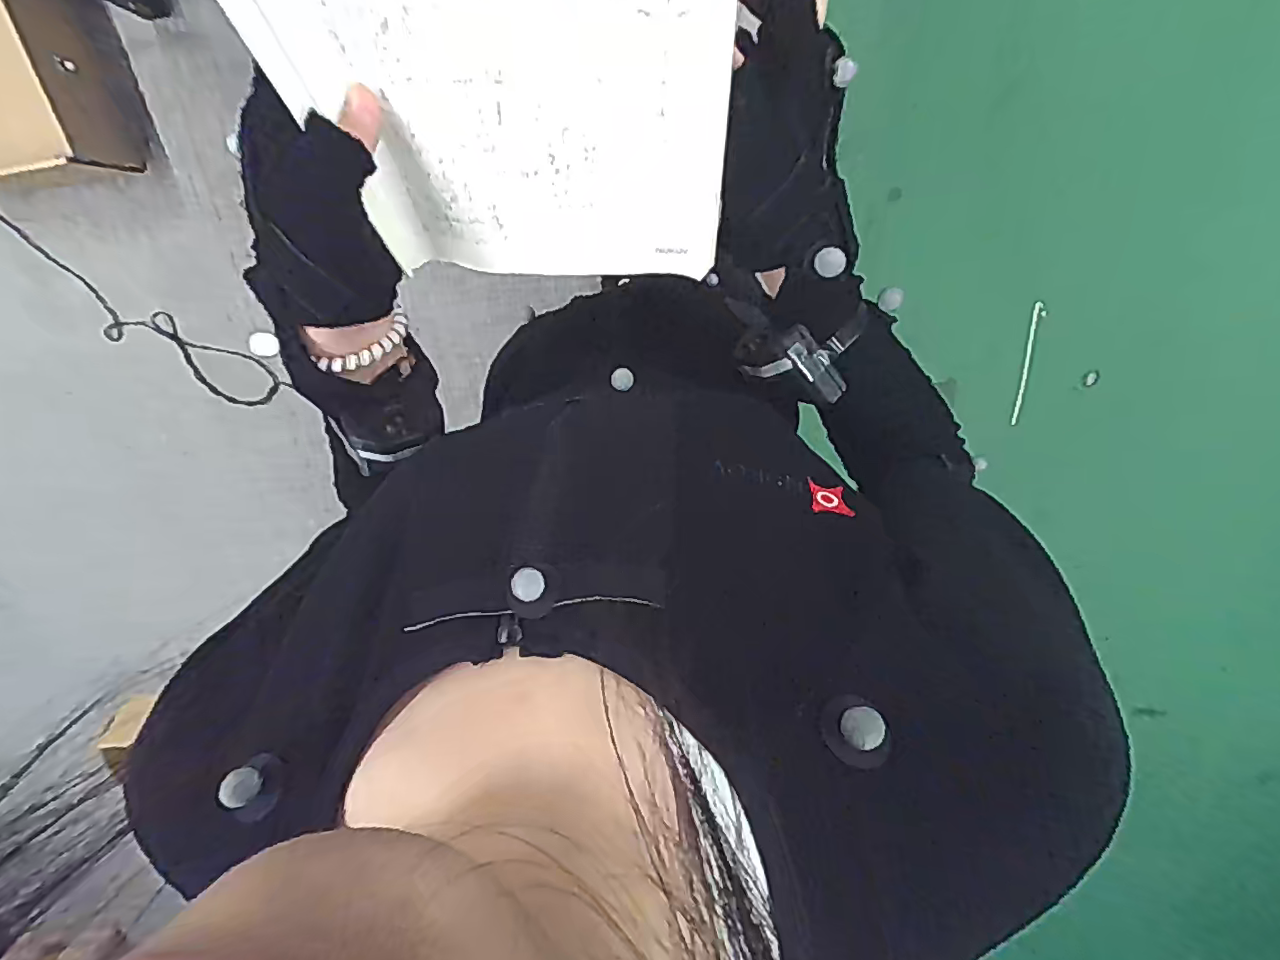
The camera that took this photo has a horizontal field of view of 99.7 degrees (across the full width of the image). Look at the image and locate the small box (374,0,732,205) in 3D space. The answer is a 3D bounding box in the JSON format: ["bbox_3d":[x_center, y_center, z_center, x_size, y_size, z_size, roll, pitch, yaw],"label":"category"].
[{"bbox_3d":[-0.037,-0.277,0.302,0.168,0.176,0.179,-3,131,8],"label":"small box"}]
